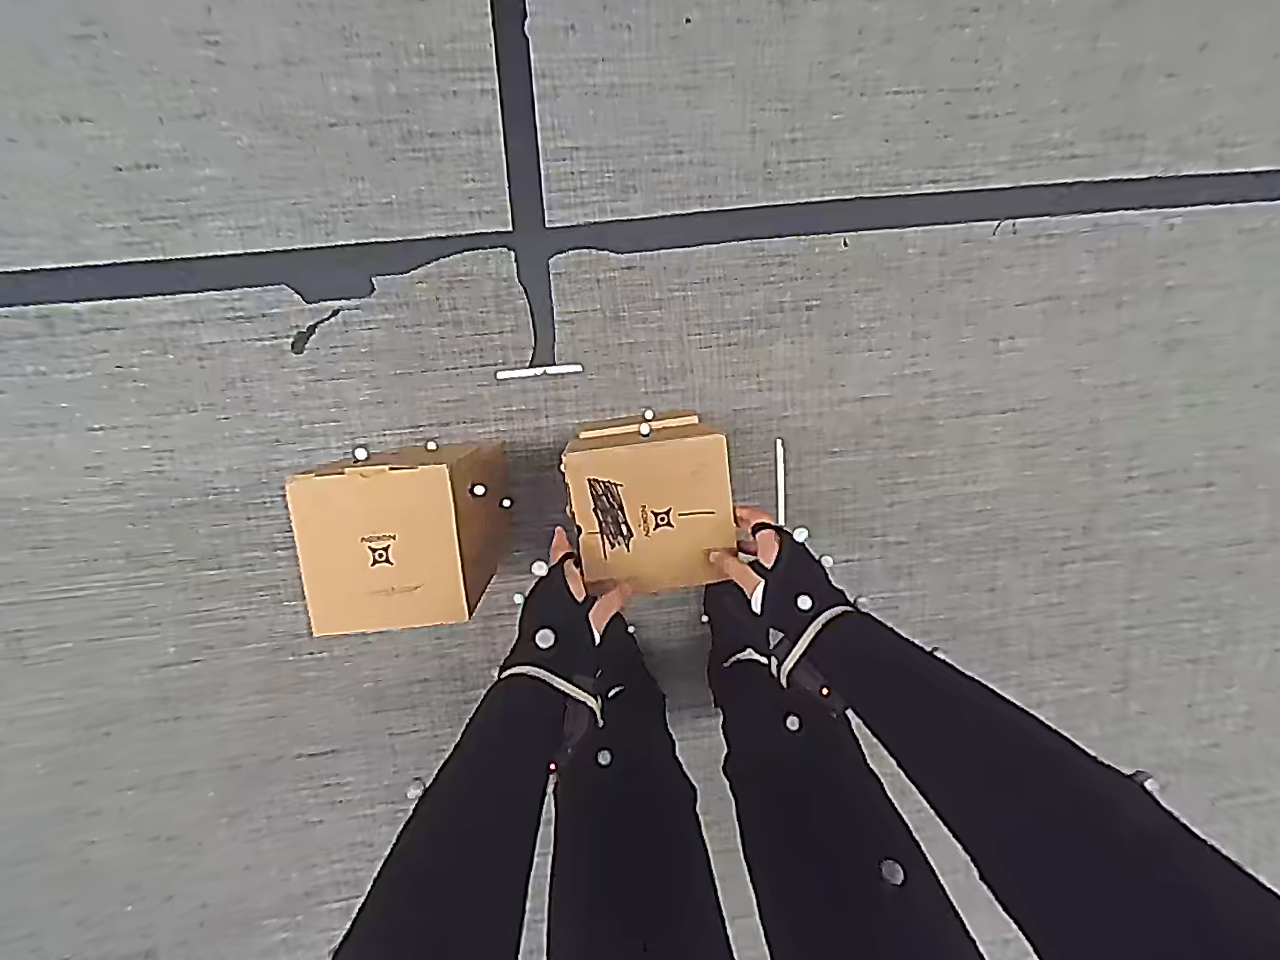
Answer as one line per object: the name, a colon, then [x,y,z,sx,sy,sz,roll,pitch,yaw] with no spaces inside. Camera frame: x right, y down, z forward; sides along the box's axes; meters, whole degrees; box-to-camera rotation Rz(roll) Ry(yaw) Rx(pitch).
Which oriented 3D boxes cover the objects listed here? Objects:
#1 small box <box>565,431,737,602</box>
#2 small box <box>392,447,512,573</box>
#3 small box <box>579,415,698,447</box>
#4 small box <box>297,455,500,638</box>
small box: [0.009,0.034,0.670,0.179,0.176,0.168,-8,100,-4]
small box: [-0.292,0.043,0.813,0.179,0.176,0.168,-4,100,-3]
small box: [0.003,0.001,0.832,0.168,0.176,0.179,-8,101,-3]
small box: [-0.273,0.066,0.653,0.168,0.176,0.179,-5,101,-3]
